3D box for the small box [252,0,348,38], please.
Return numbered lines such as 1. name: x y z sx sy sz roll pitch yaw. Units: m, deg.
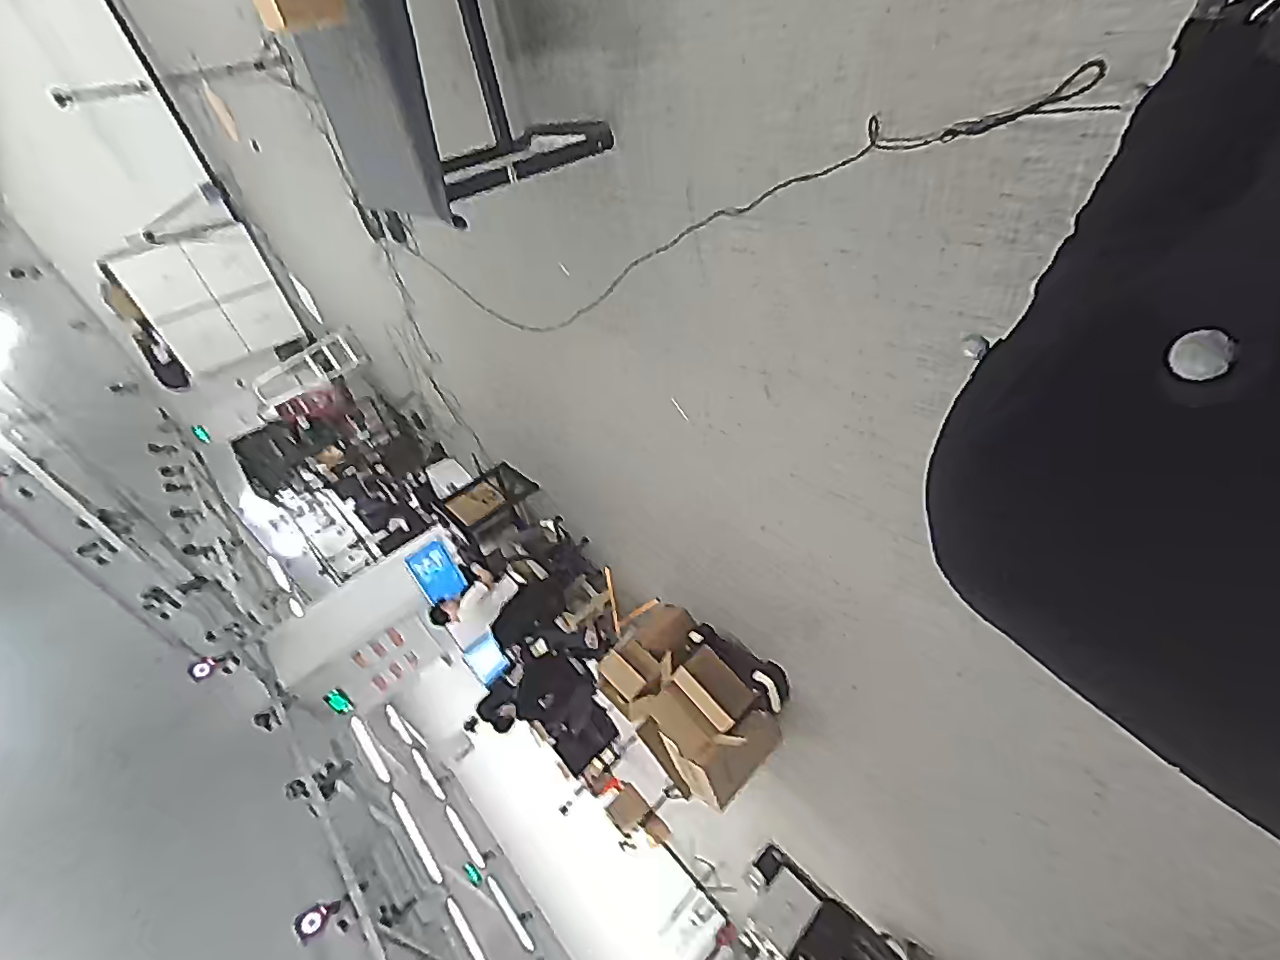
1. small box: -0.854 -1.215 1.327 0.168 0.176 0.179 30 143 38
